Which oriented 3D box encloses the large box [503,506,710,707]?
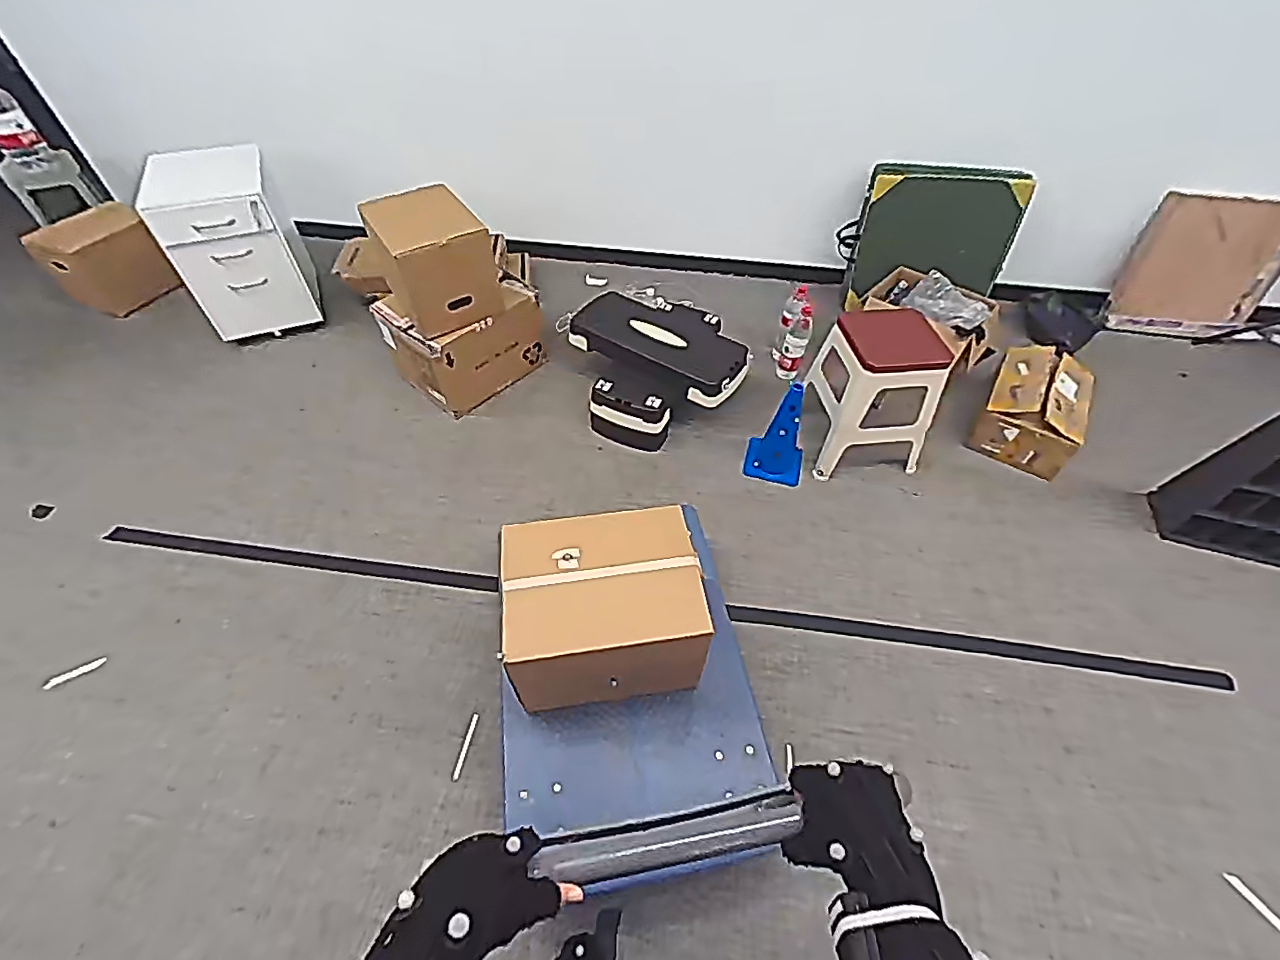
[{"bbox_3d":[-0.082,0.292,1.236,0.408,0.320,0.320,-7,51,-6],"label":"large box"}]
